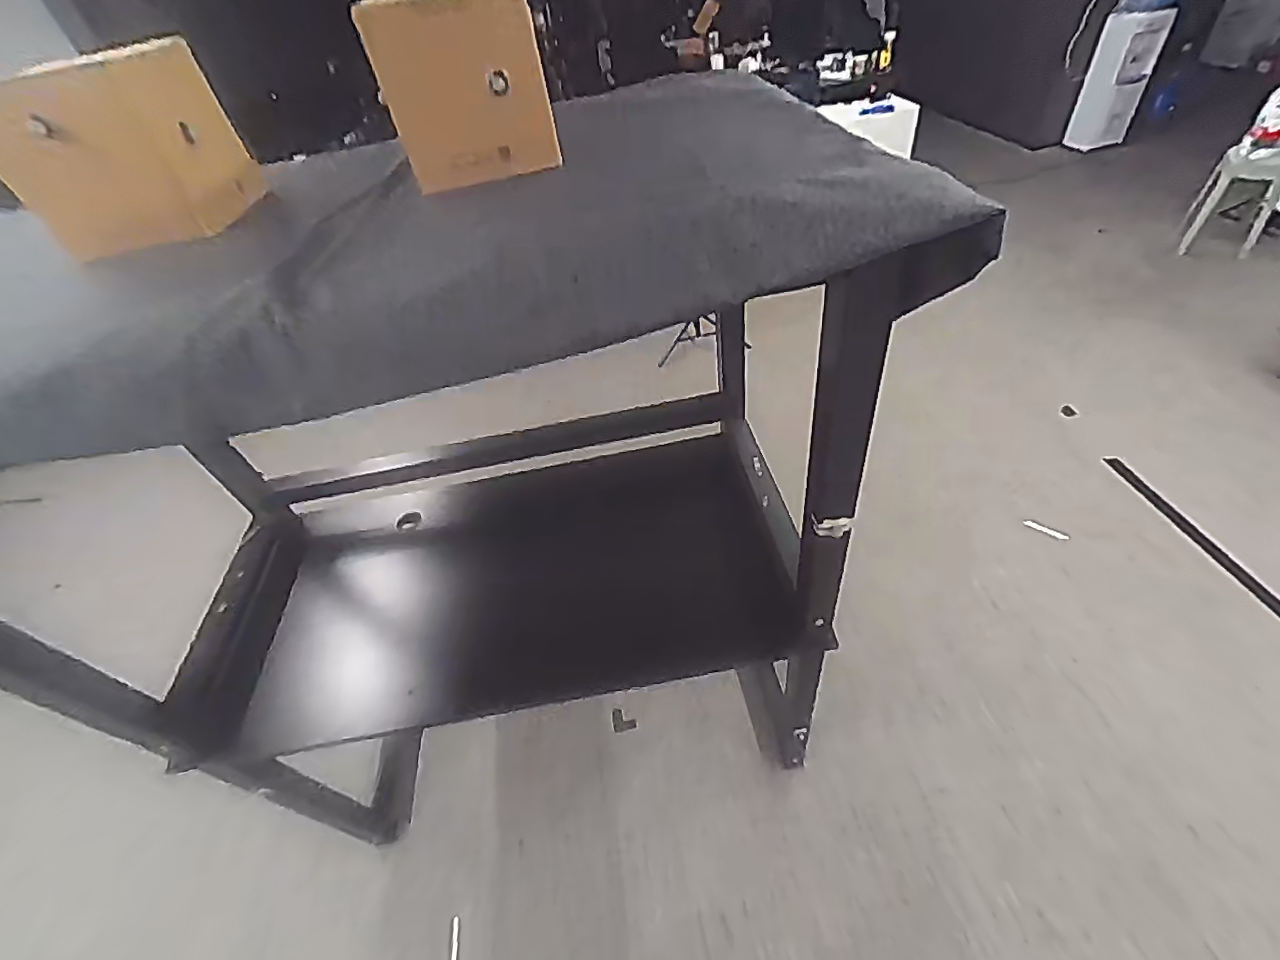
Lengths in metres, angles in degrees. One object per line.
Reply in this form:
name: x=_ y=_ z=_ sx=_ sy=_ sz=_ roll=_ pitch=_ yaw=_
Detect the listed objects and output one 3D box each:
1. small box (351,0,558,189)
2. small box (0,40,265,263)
small box: x=-0.195 y=-0.455 z=0.623 sx=0.168 sy=0.176 sz=0.179 roll=-12 pitch=46 yaw=-1
small box: x=-0.589 y=-0.377 z=0.627 sx=0.179 sy=0.176 sz=0.168 roll=-11 pitch=45 yaw=1
